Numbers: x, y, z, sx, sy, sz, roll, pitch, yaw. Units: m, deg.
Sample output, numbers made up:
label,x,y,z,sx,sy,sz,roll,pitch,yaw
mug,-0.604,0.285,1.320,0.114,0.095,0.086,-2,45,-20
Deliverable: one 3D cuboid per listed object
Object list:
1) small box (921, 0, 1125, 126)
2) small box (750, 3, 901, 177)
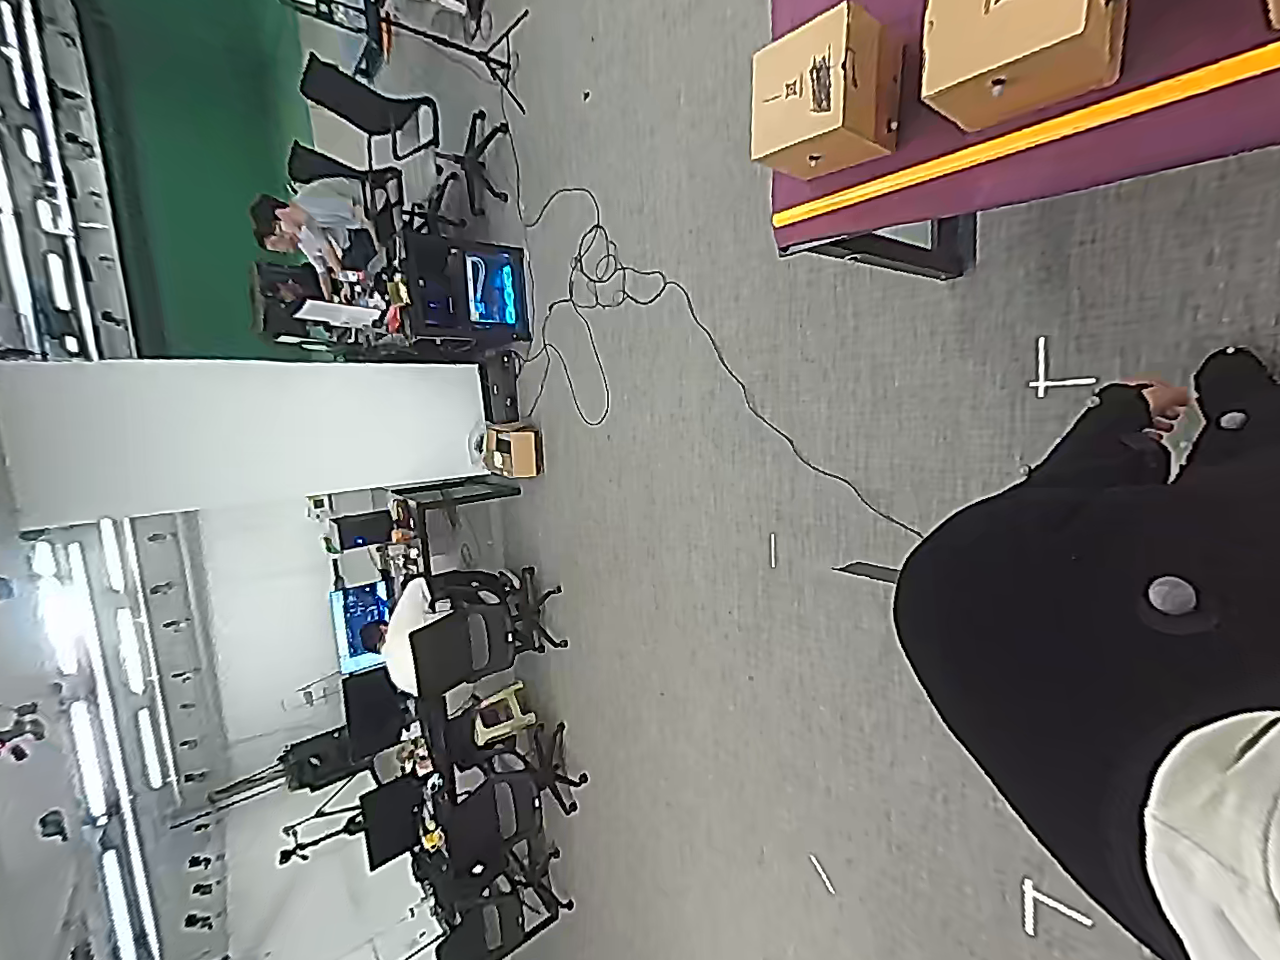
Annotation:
label,x,y,z,sx,sy,sz,roll,pitch,yaw
small box,0.485,-0.583,0.681,0.179,0.176,0.168,12,106,51
small box,0.306,-0.626,0.896,0.179,0.176,0.168,14,109,50
